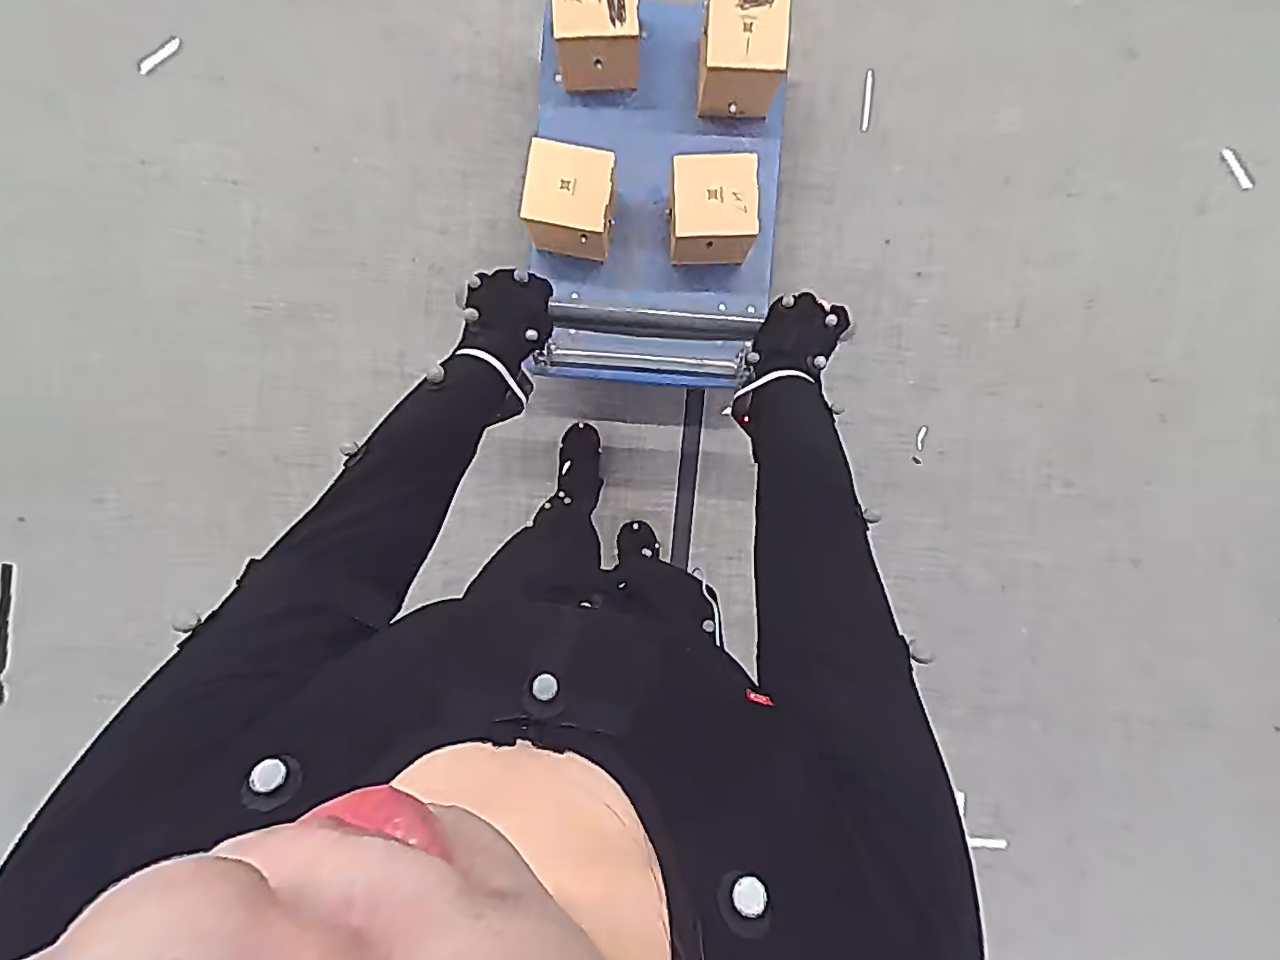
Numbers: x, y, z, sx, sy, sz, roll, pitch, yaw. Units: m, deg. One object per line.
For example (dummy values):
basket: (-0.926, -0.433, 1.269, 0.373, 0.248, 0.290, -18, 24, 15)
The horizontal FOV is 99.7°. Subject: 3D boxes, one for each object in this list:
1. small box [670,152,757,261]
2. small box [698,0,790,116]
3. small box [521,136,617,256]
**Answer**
small box: (0.157, -0.596, 1.196, 0.179, 0.176, 0.168, -1, 94, 0)
small box: (0.220, -0.935, 1.176, 0.168, 0.176, 0.179, 2, 94, 0)
small box: (-0.150, -0.615, 1.193, 0.179, 0.176, 0.168, 10, 93, -2)
